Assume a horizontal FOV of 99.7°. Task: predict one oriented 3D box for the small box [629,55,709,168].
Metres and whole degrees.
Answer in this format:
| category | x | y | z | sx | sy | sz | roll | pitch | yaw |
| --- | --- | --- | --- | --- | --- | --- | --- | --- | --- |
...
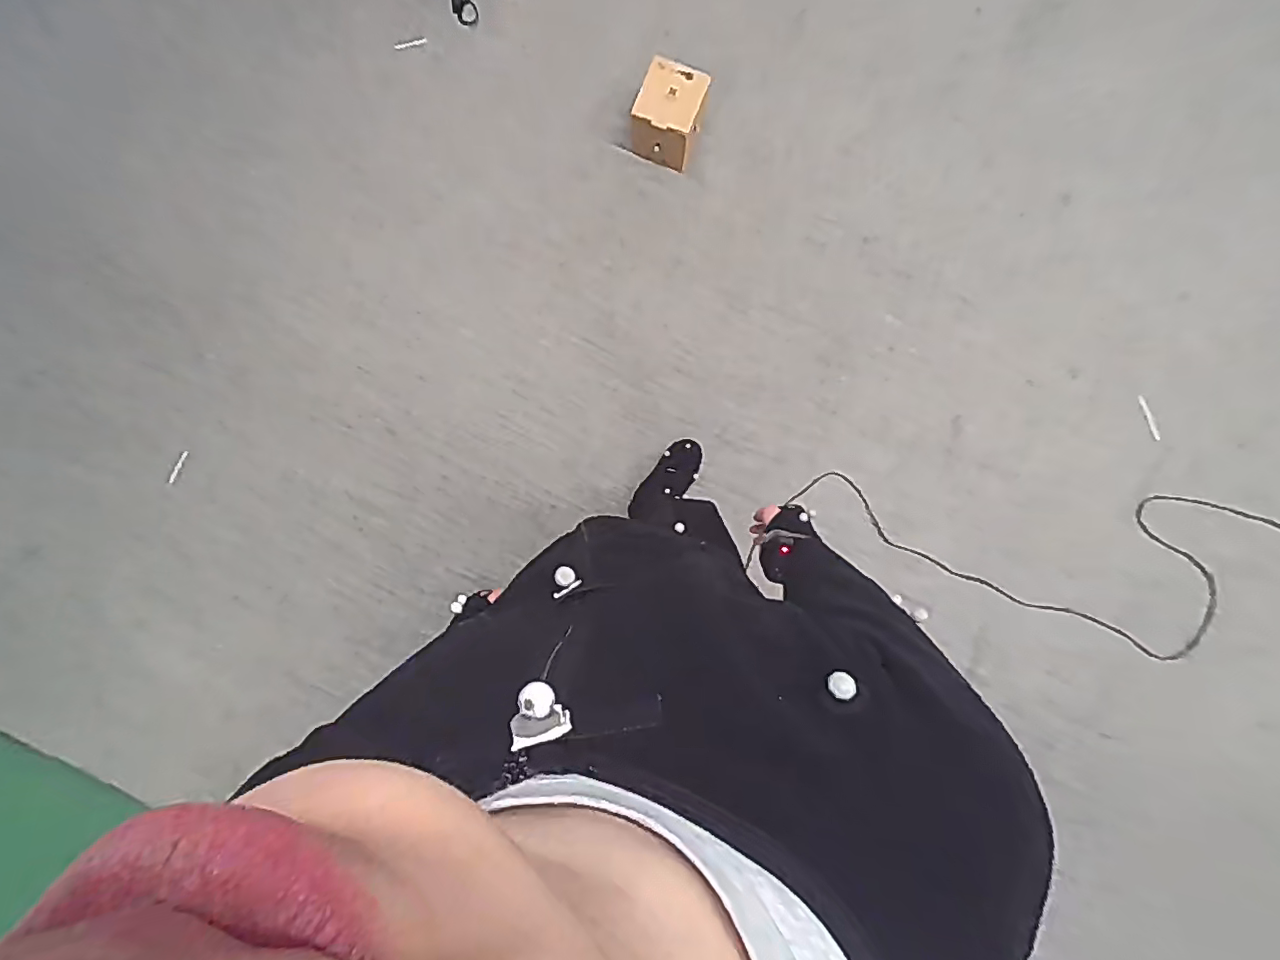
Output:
| category | x | y | z | sx | sy | sz | roll | pitch | yaw |
| --- | --- | --- | --- | --- | --- | --- | --- | --- | --- |
| small box | 0.081 | -1.024 | 1.518 | 0.168 | 0.176 | 0.179 | 22 | 89 | 1 |
